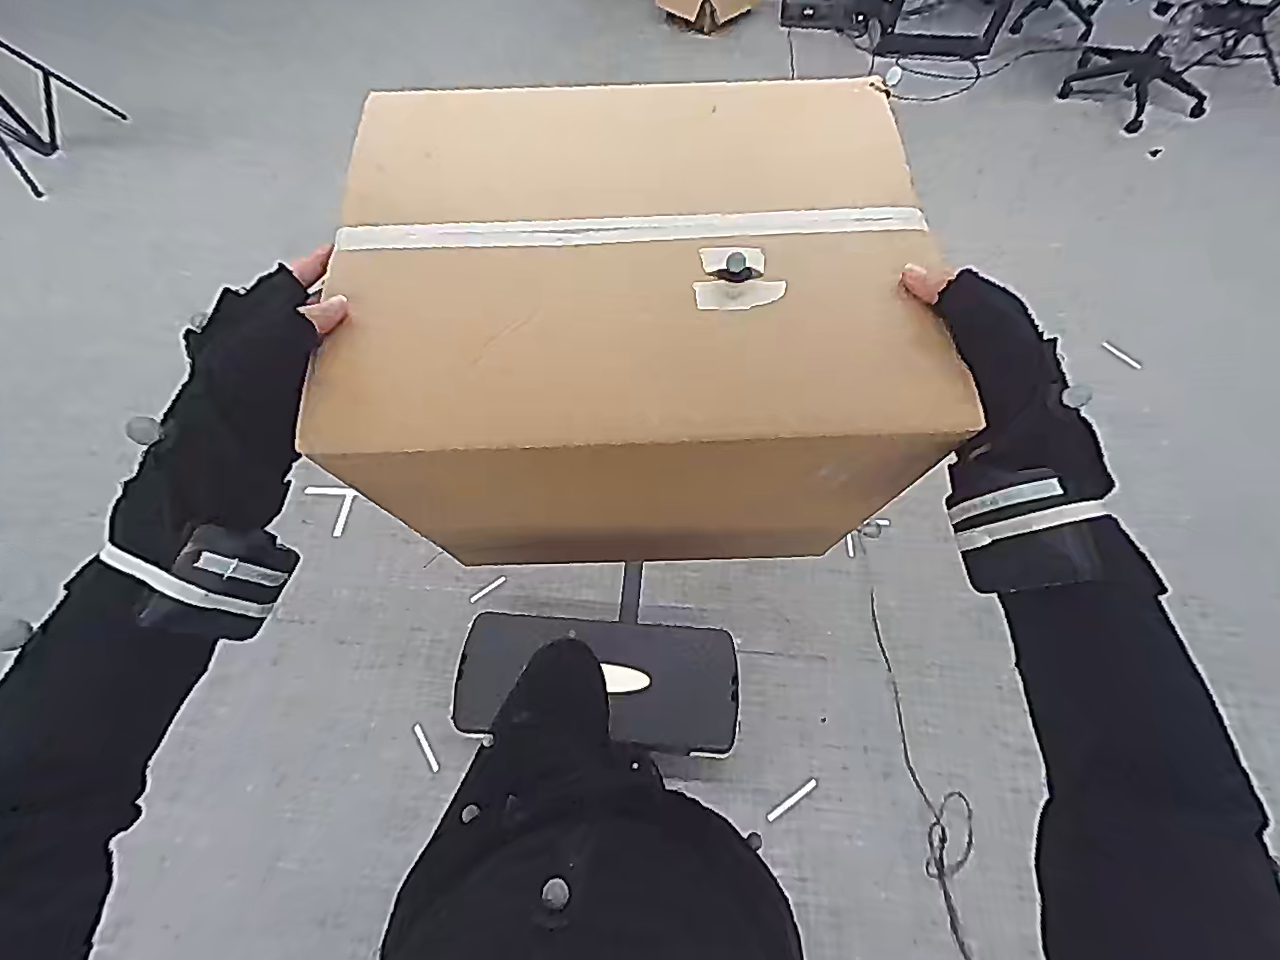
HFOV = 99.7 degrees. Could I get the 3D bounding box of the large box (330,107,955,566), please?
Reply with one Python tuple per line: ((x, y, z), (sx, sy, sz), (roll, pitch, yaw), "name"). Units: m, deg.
((-0.004, -0.108, 0.531), (0.408, 0.320, 0.320), (-2, 68, -1), "large box")
